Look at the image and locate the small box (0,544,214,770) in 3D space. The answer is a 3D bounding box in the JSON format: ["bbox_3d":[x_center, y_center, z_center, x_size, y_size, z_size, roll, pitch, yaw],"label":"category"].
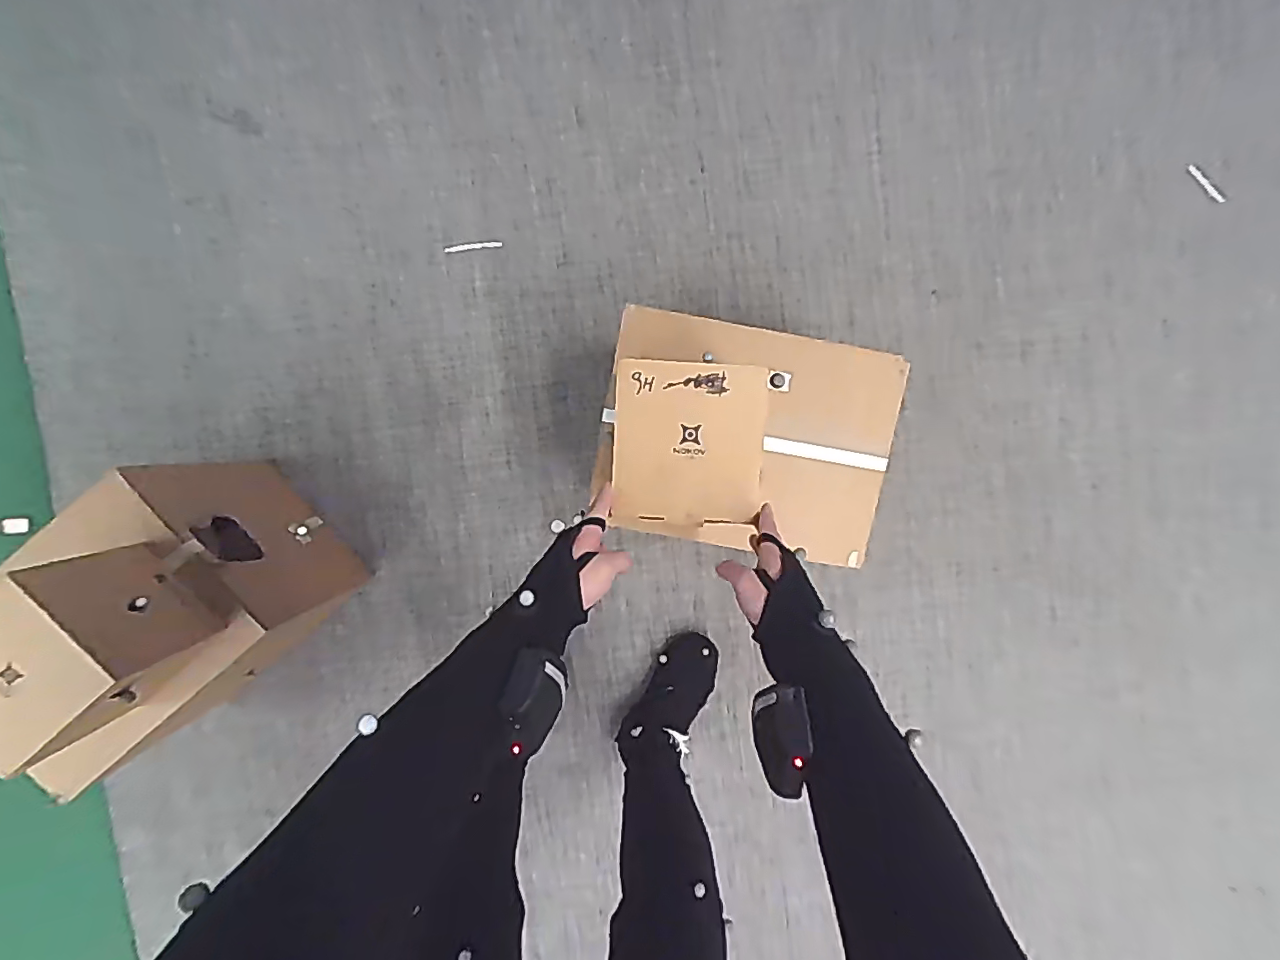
[{"bbox_3d":[-0.689,0.202,0.673,0.179,0.176,0.168,-40,94,2],"label":"small box"}]

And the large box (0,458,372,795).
[{"bbox_3d":[-0.767,0.208,0.921,0.408,0.320,0.320,-40,92,3],"label":"large box"}]

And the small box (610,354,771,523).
[{"bbox_3d":[0.053,-0.052,0.667,0.168,0.176,0.179,3,95,-2],"label":"small box"}]
